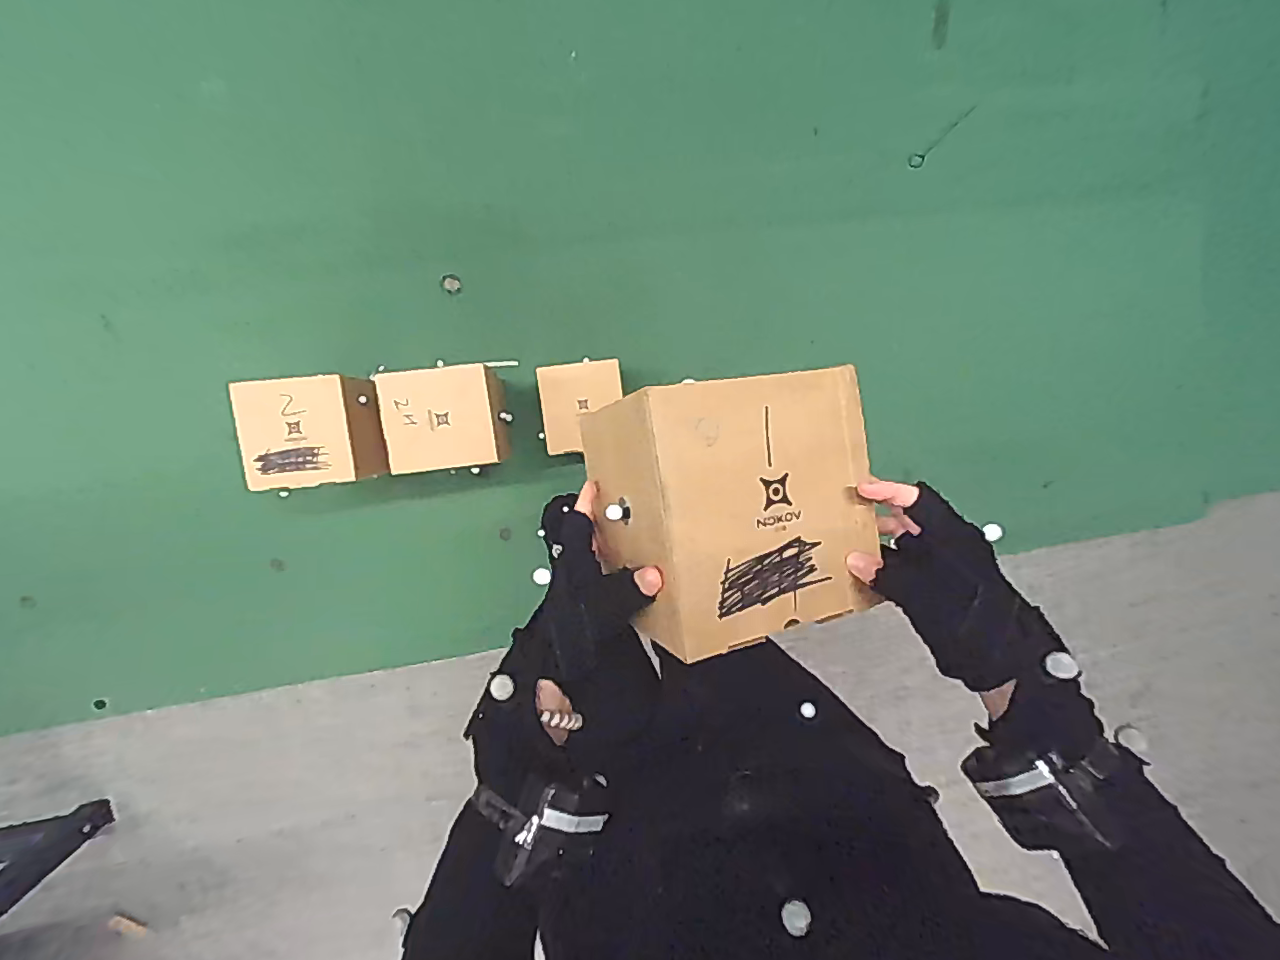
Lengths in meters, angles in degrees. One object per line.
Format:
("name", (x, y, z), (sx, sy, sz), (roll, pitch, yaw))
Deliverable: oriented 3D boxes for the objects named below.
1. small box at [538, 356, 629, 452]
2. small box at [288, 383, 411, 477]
("small box", (-0.125, -0.162, 1.163), (0.168, 0.176, 0.179), (-9, 99, -7))
("small box", (-0.584, -0.106, 1.110), (0.168, 0.176, 0.179), (-4, 98, -7))
